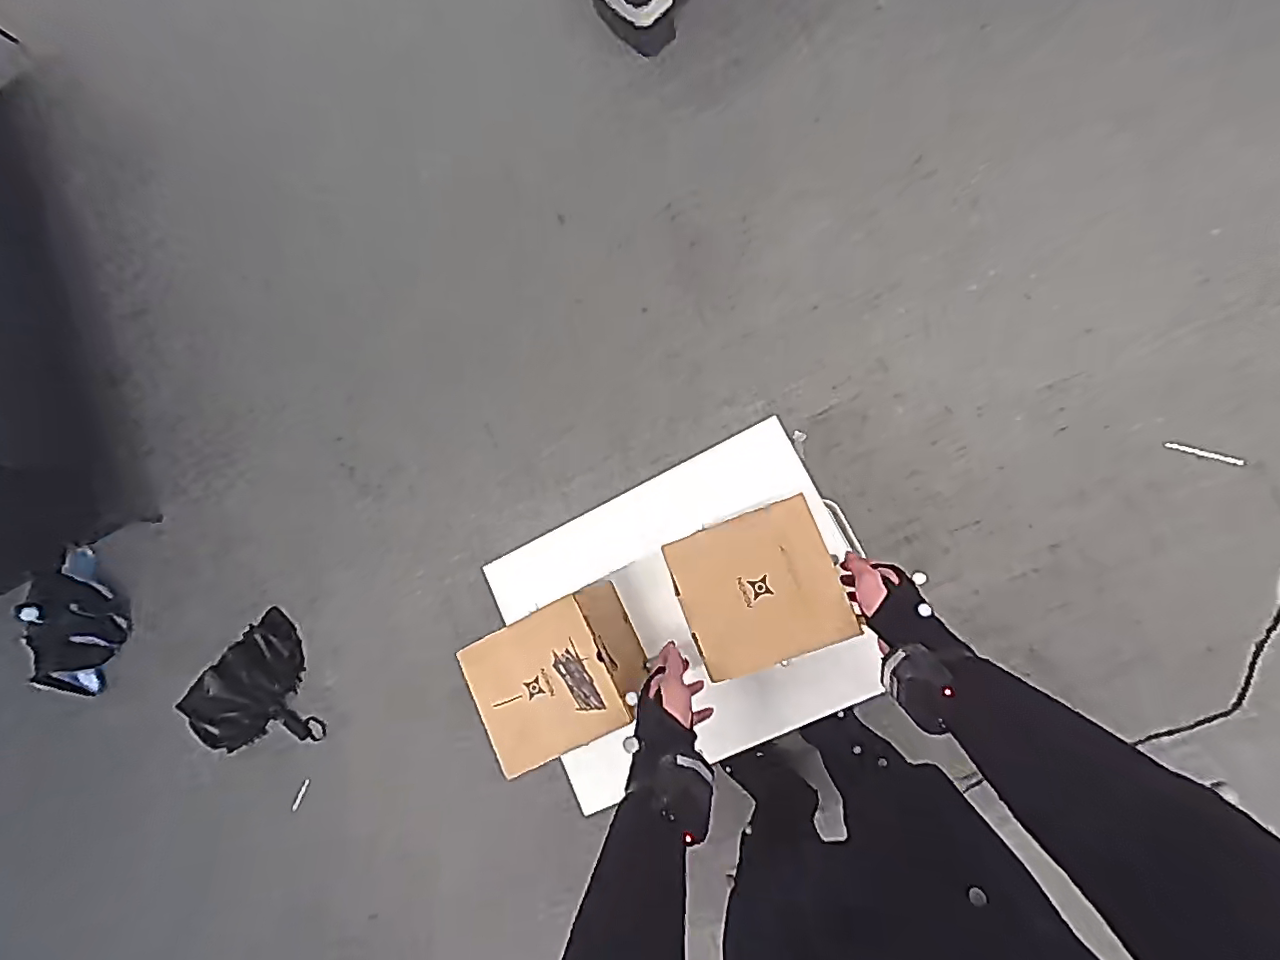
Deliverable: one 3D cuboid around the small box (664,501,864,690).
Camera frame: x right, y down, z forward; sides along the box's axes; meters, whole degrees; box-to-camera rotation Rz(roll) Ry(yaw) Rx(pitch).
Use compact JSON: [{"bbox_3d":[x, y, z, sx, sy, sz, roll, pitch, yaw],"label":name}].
[{"bbox_3d":[0.151,0.137,0.676,0.179,0.176,0.168,-23,81,9],"label":"small box"}]
